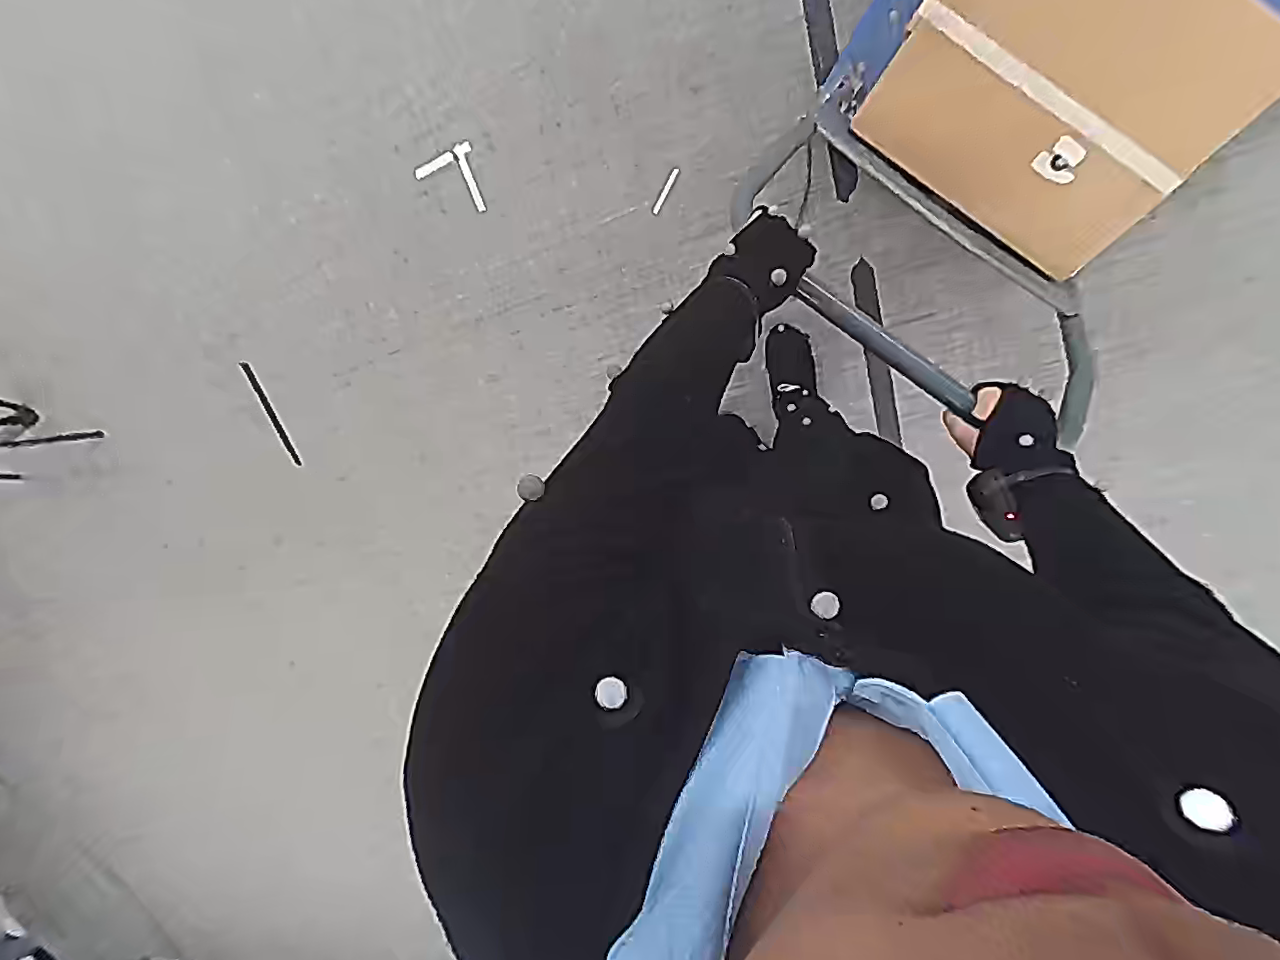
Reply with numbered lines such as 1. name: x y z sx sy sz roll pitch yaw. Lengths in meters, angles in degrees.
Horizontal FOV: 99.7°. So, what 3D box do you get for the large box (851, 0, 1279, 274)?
1. large box: 0.600 -0.600 0.826 0.408 0.320 0.320 35 136 -1
